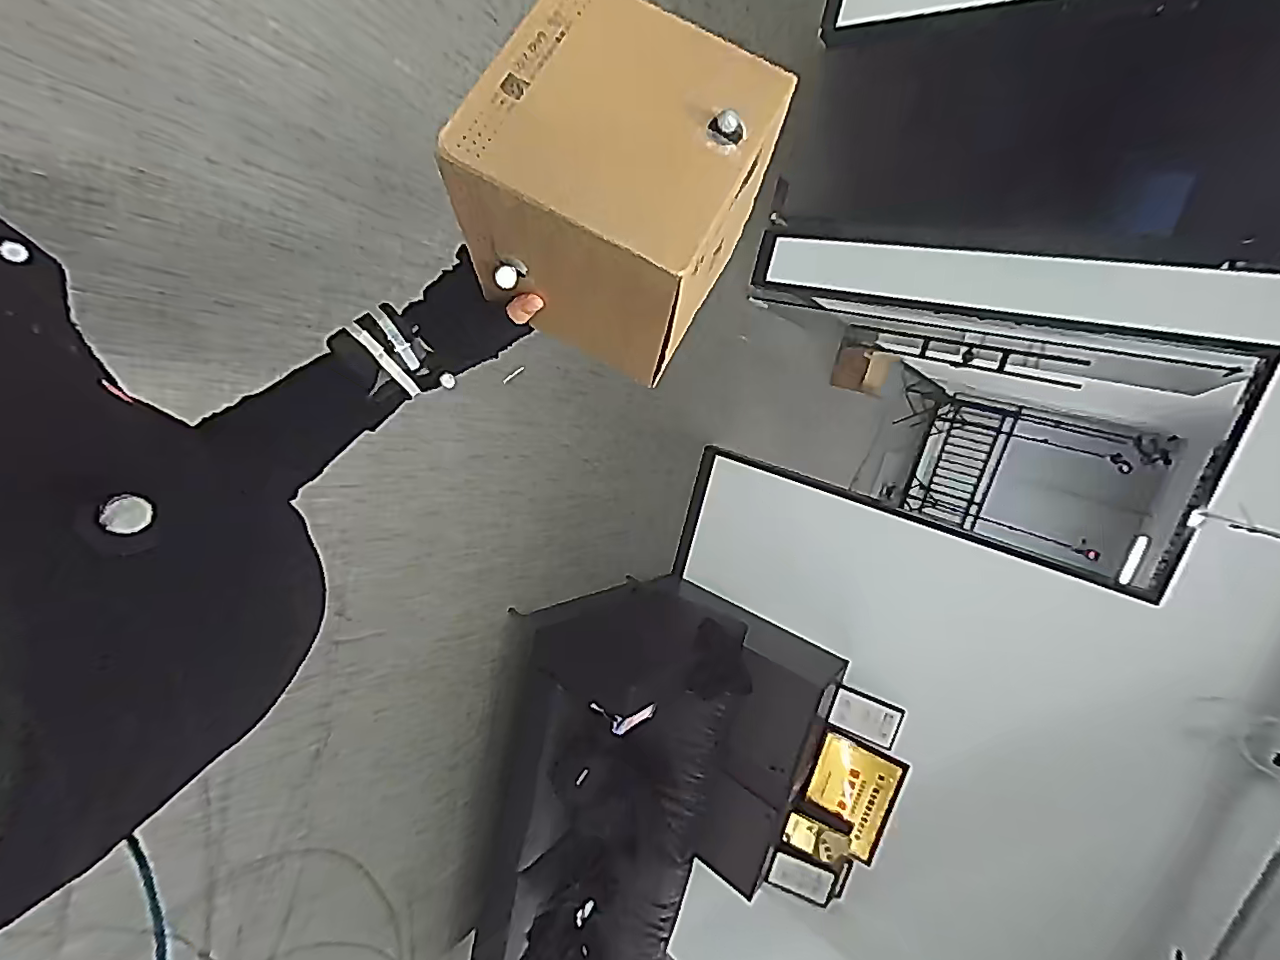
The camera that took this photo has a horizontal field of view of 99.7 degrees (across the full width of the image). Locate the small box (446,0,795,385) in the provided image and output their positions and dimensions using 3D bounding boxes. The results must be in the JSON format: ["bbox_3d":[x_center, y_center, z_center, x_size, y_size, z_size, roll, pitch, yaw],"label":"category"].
[{"bbox_3d":[-0.018,-0.206,0.411,0.168,0.176,0.179,-63,180,-13],"label":"small box"}]
